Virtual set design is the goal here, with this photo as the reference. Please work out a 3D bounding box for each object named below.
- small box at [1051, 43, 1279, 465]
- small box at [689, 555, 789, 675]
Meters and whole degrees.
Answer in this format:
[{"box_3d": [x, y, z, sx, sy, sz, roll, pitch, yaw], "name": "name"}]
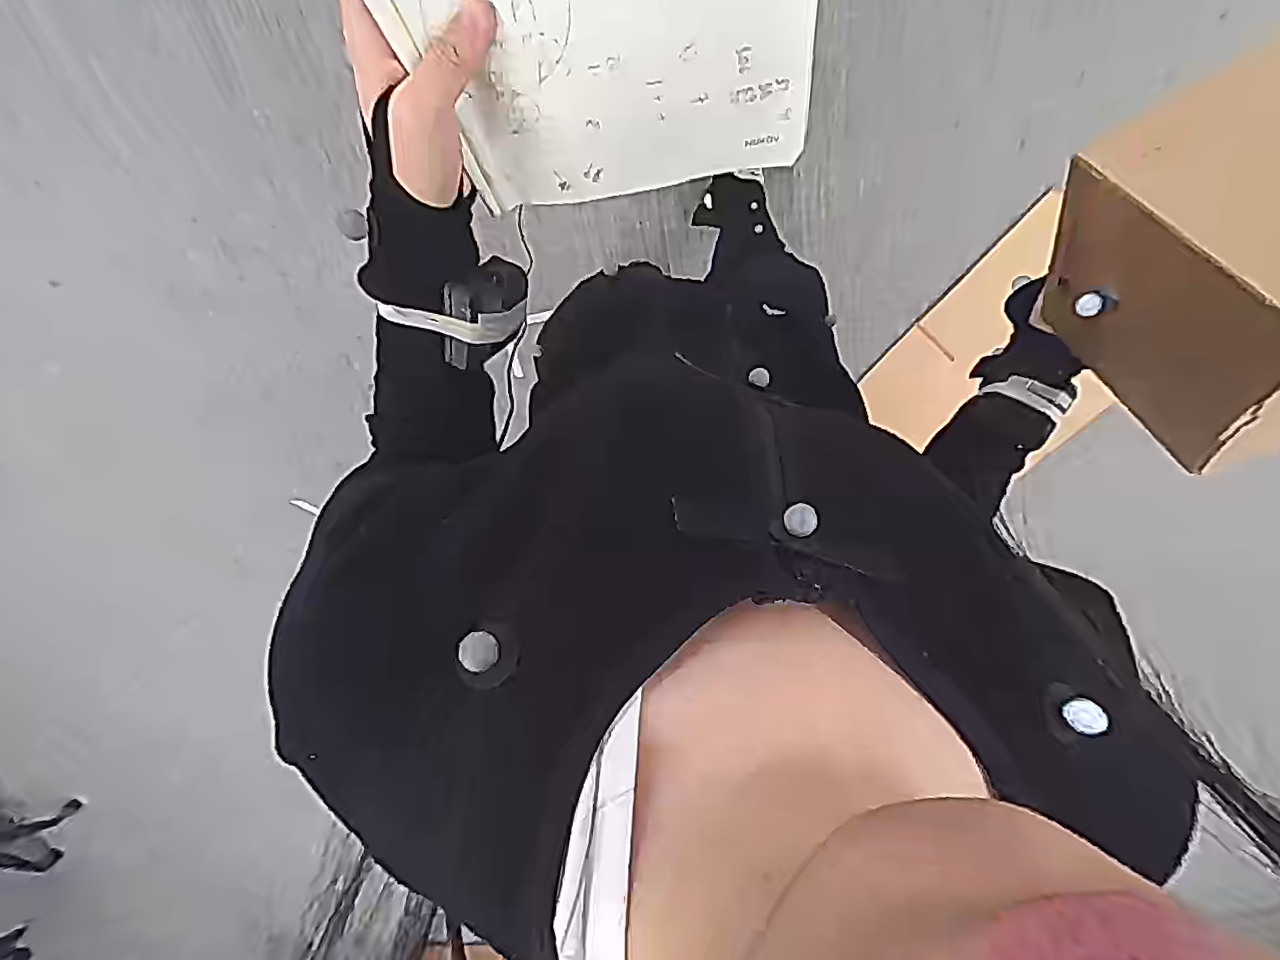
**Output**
[{"box_3d": [0.395, -0.143, 0.316, 0.179, 0.176, 0.168, -27, 147, 18], "name": "small box"}, {"box_3d": [0.196, 0.272, 1.114, 0.179, 0.176, 0.168, -6, 119, 0], "name": "small box"}]
